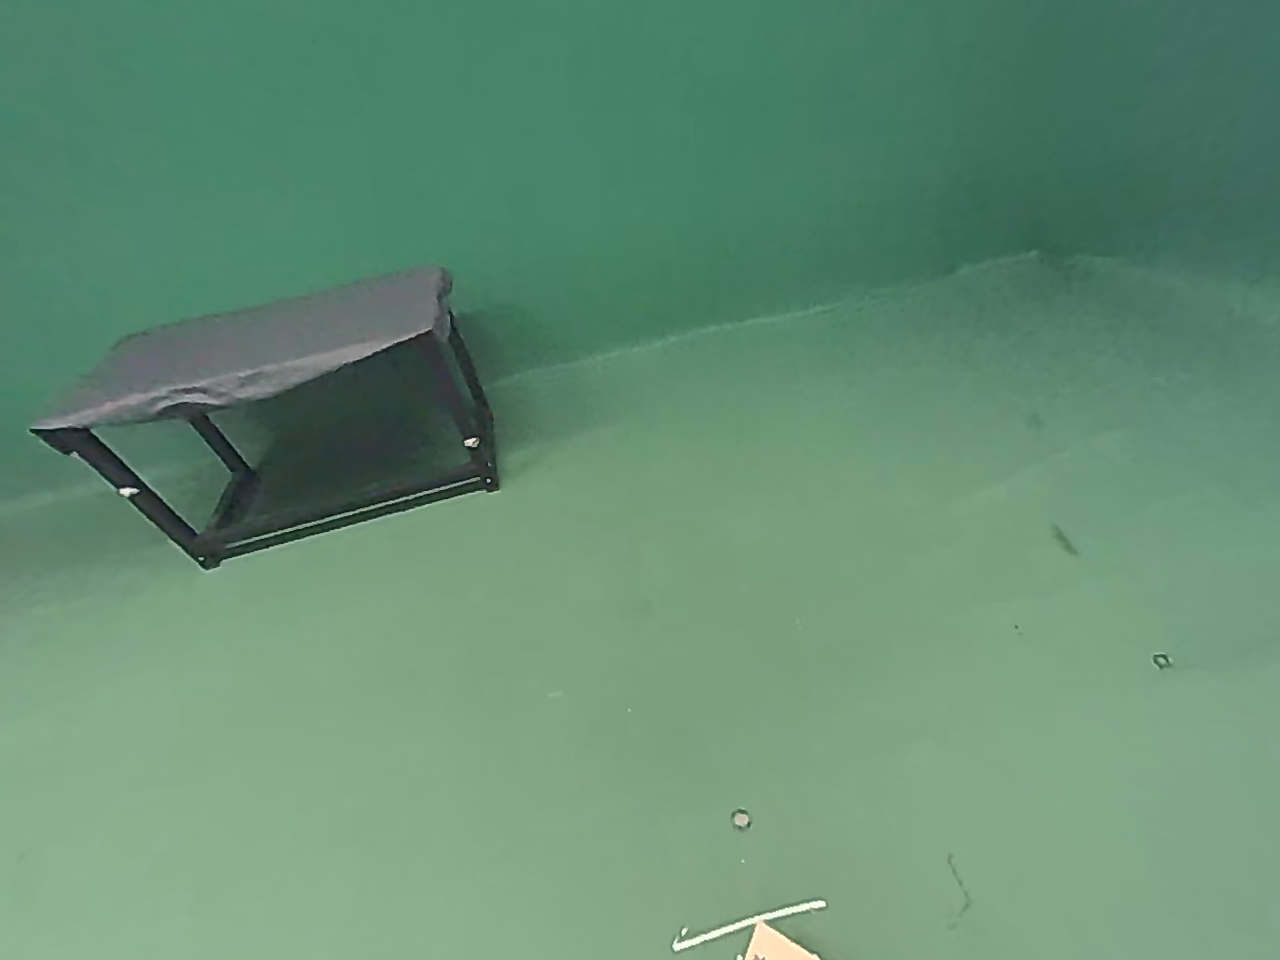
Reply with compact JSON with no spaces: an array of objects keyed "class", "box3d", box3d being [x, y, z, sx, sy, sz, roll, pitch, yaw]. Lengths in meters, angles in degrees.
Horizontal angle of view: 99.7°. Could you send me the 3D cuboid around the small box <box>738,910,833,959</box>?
[{"class":"small box","box3d":[0.251,0.893,0.928,0.179,0.176,0.168,17,49,28]}]
